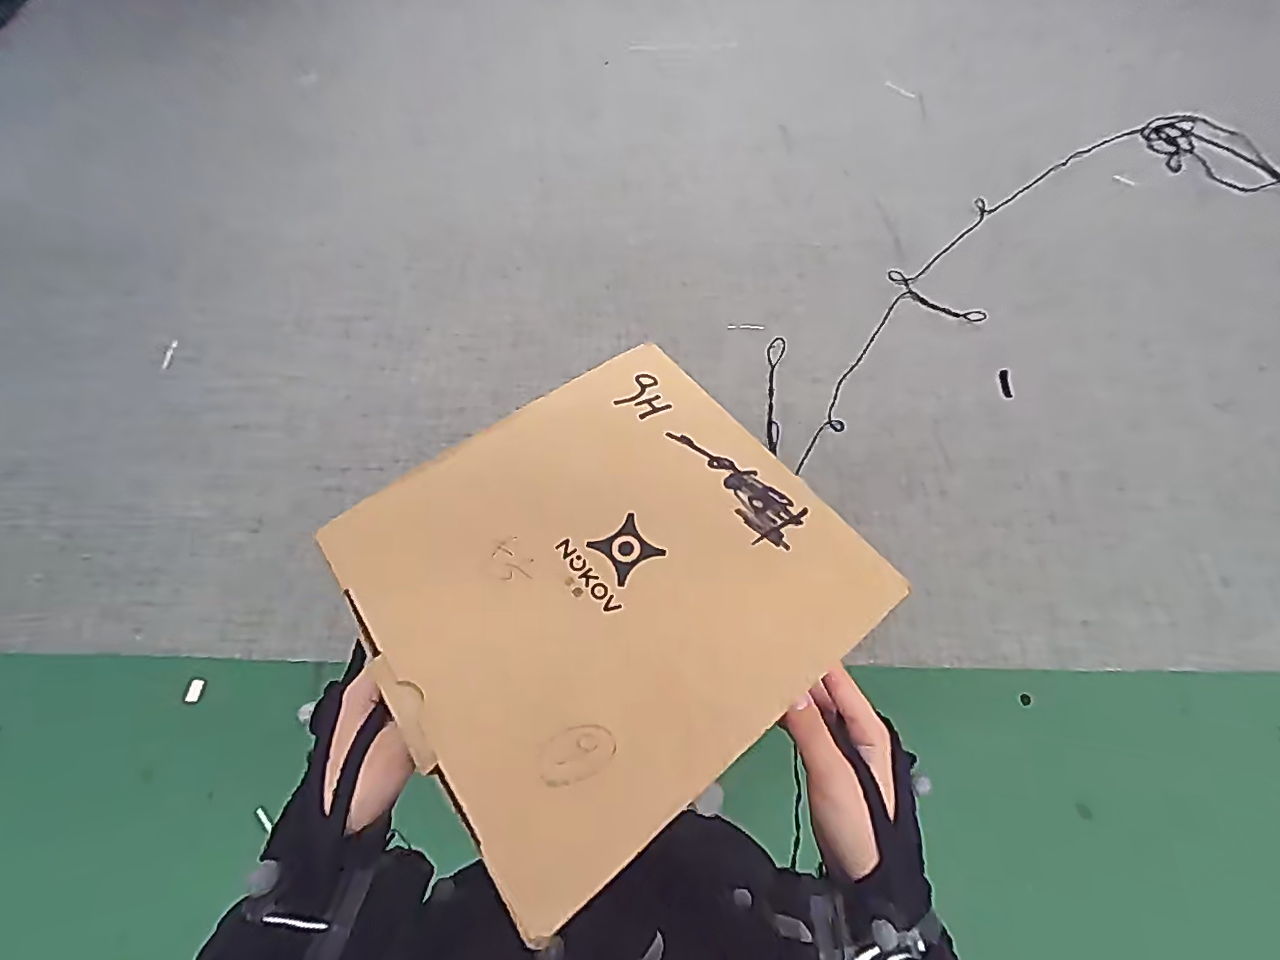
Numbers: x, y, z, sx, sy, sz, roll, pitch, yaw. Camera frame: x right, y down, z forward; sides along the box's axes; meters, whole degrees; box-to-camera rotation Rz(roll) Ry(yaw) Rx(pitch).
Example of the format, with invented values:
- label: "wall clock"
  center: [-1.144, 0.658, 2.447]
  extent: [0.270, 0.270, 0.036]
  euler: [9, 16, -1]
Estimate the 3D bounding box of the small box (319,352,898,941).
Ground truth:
- label: "small box"
  center: [-0.014, 0.076, 0.281]
  extent: [0.179, 0.176, 0.168]
  euler: [-34, 65, -18]
